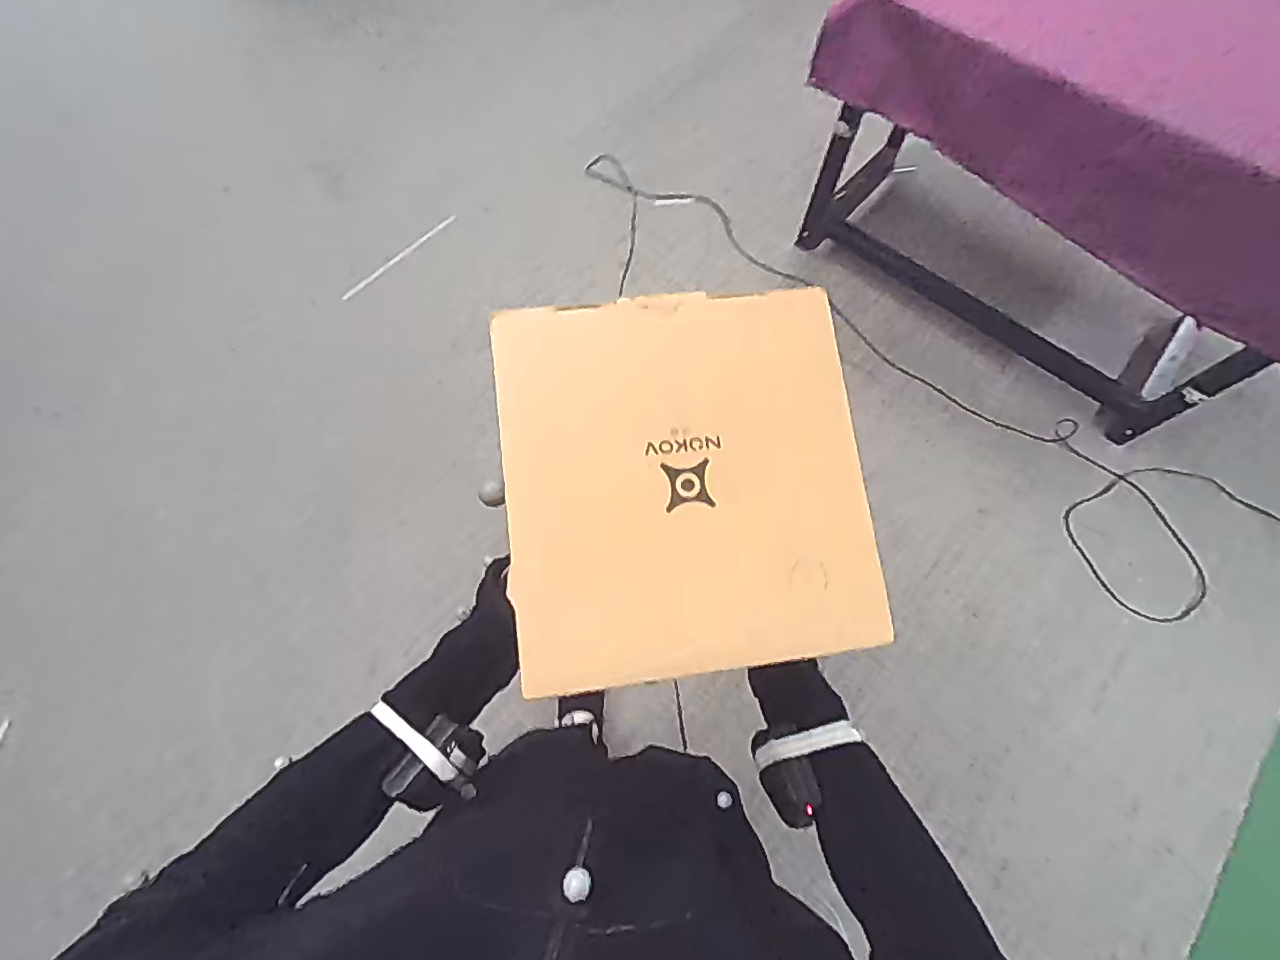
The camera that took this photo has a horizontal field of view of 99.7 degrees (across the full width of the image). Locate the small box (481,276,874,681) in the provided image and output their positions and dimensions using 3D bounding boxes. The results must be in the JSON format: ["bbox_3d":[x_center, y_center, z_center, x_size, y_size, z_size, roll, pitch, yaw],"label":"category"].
[{"bbox_3d":[0.010,0.006,0.324,0.168,0.176,0.179,-6,80,-5],"label":"small box"}]
